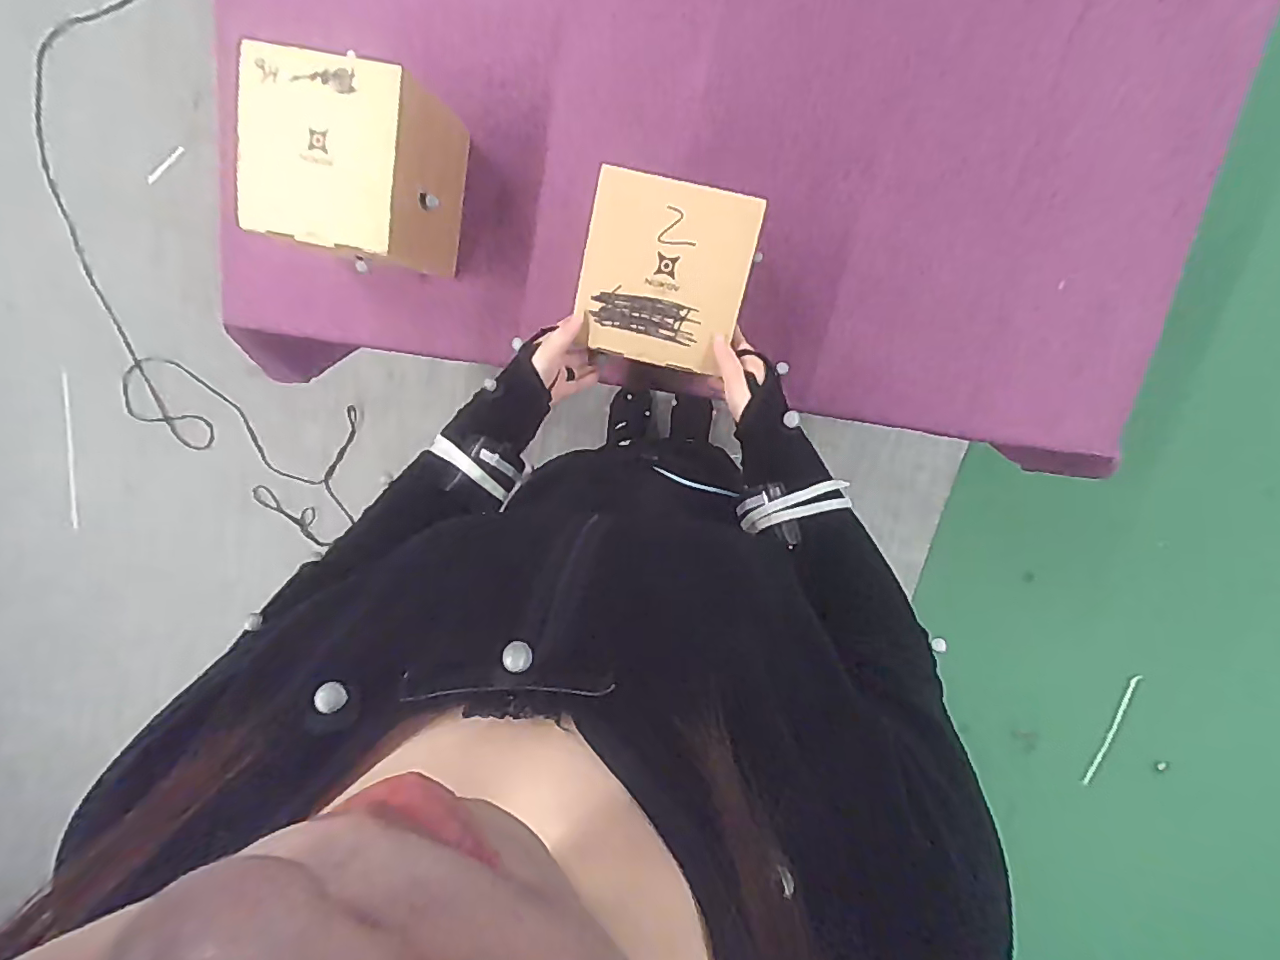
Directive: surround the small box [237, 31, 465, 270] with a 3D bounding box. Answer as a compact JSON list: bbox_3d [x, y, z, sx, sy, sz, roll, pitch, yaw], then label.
[{"bbox_3d":[-0.314,-0.351,0.615,0.168,0.176,0.179,12,104,0],"label":"small box"}]
